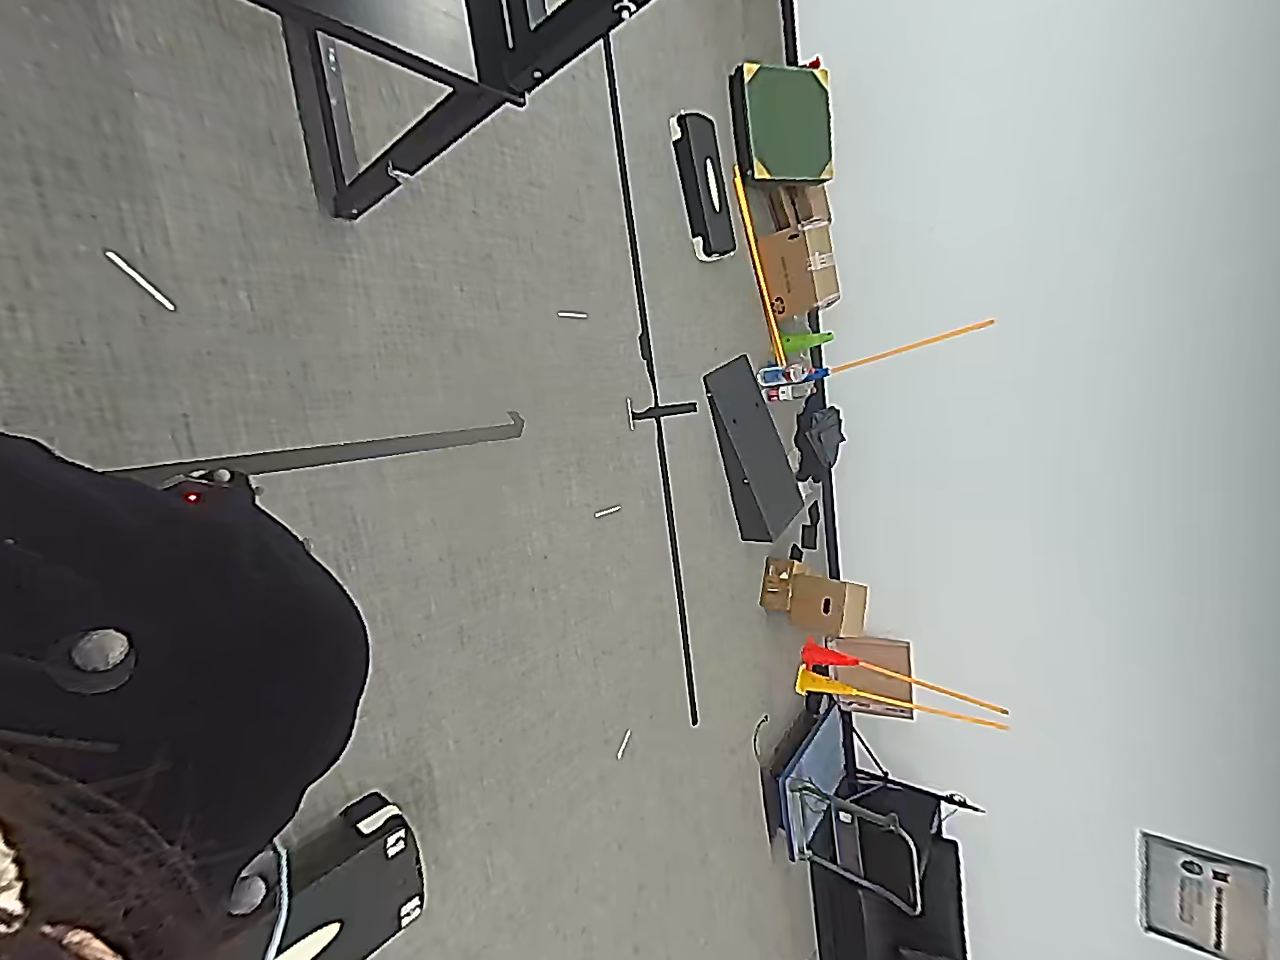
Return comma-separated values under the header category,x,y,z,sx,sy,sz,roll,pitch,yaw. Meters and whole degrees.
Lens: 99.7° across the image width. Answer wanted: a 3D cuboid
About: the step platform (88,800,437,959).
category,x,y,z,sx,sy,sz,roll,pitch,yaw
step platform,-0.818,1.059,1.243,0.684,0.204,0.286,-7,95,-51
